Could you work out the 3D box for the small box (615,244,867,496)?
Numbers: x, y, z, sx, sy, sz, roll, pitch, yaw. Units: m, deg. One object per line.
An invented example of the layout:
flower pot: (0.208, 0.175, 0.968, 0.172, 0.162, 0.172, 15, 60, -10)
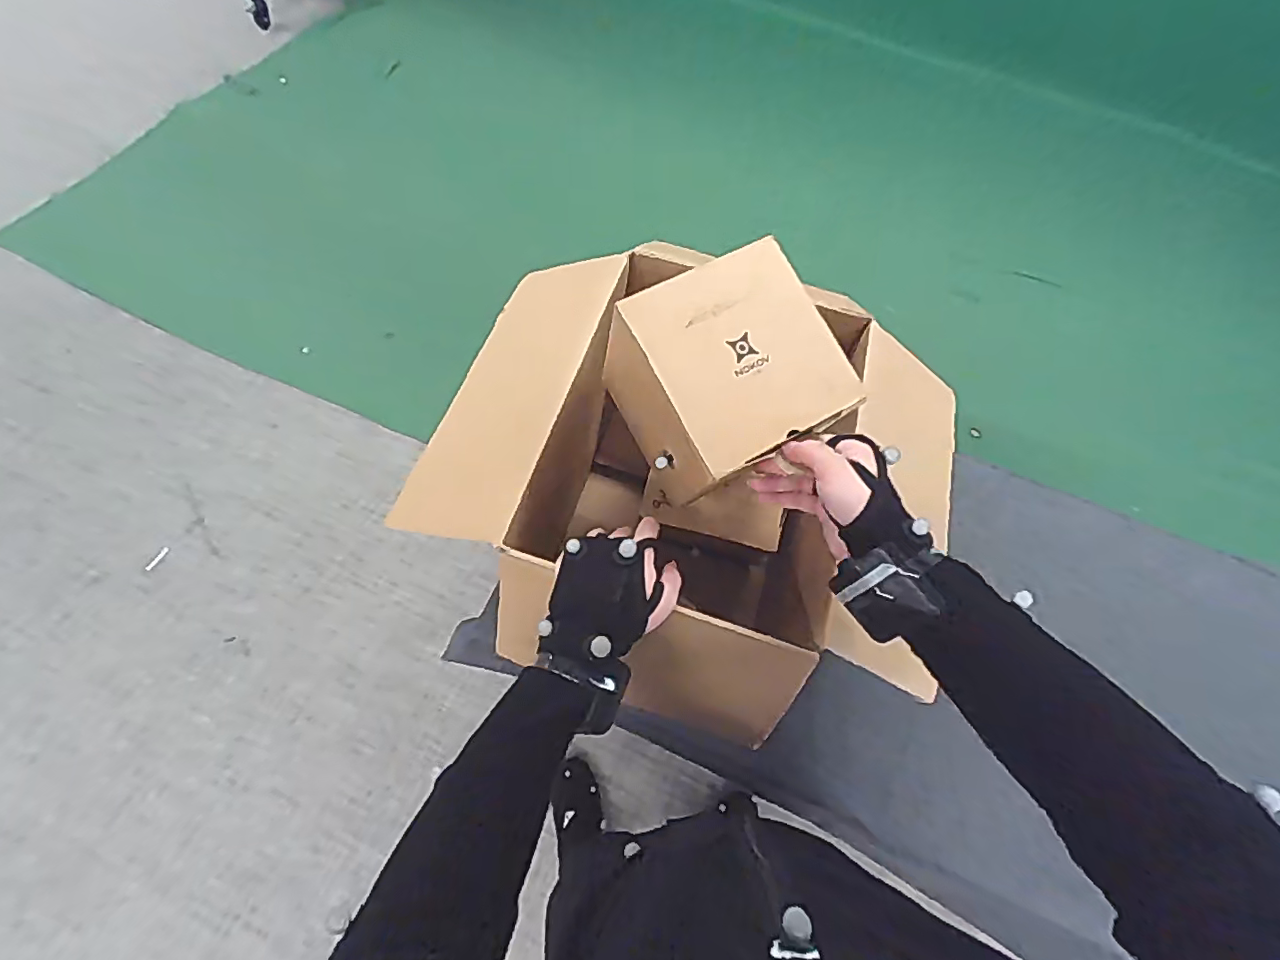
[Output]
small box: (0.086, -0.096, 0.557, 0.168, 0.176, 0.179, -27, 82, -13)
